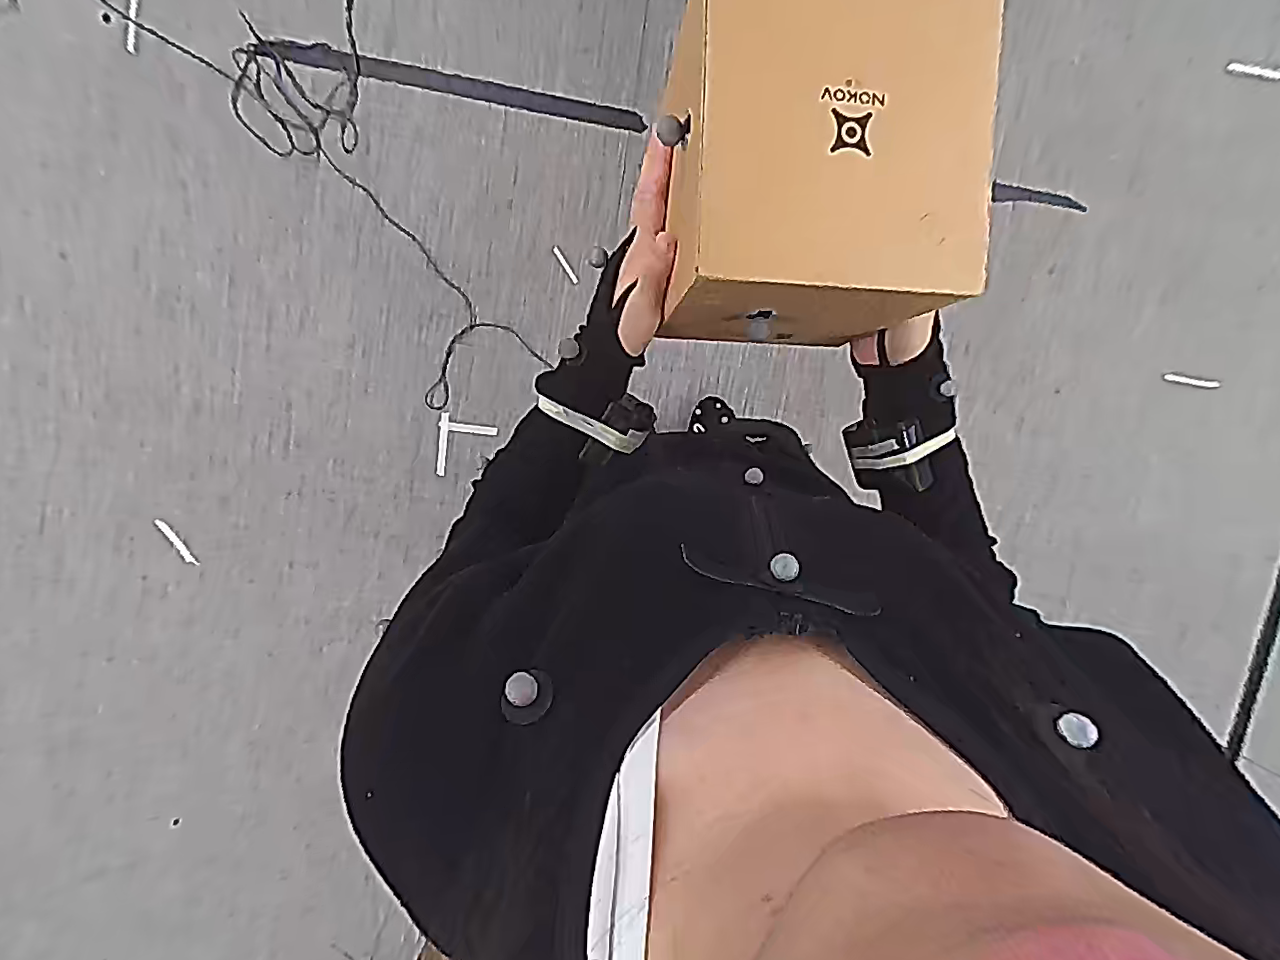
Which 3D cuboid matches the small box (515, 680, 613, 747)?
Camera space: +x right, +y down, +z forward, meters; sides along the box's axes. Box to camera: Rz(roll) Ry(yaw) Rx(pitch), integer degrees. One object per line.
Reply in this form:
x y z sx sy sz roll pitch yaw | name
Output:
-0.140 0.494 1.006 0.168 0.176 0.179 5 97 -1 | small box

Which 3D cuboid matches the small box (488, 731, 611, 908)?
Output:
-0.133 0.515 0.842 0.168 0.176 0.179 1 95 0 | small box

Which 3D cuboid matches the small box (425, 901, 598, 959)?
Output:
-0.129 0.544 0.516 0.168 0.176 0.179 -2 95 0 | small box

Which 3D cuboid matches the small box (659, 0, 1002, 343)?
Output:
0.107 -0.198 0.374 0.168 0.176 0.179 1 93 -7 | small box
